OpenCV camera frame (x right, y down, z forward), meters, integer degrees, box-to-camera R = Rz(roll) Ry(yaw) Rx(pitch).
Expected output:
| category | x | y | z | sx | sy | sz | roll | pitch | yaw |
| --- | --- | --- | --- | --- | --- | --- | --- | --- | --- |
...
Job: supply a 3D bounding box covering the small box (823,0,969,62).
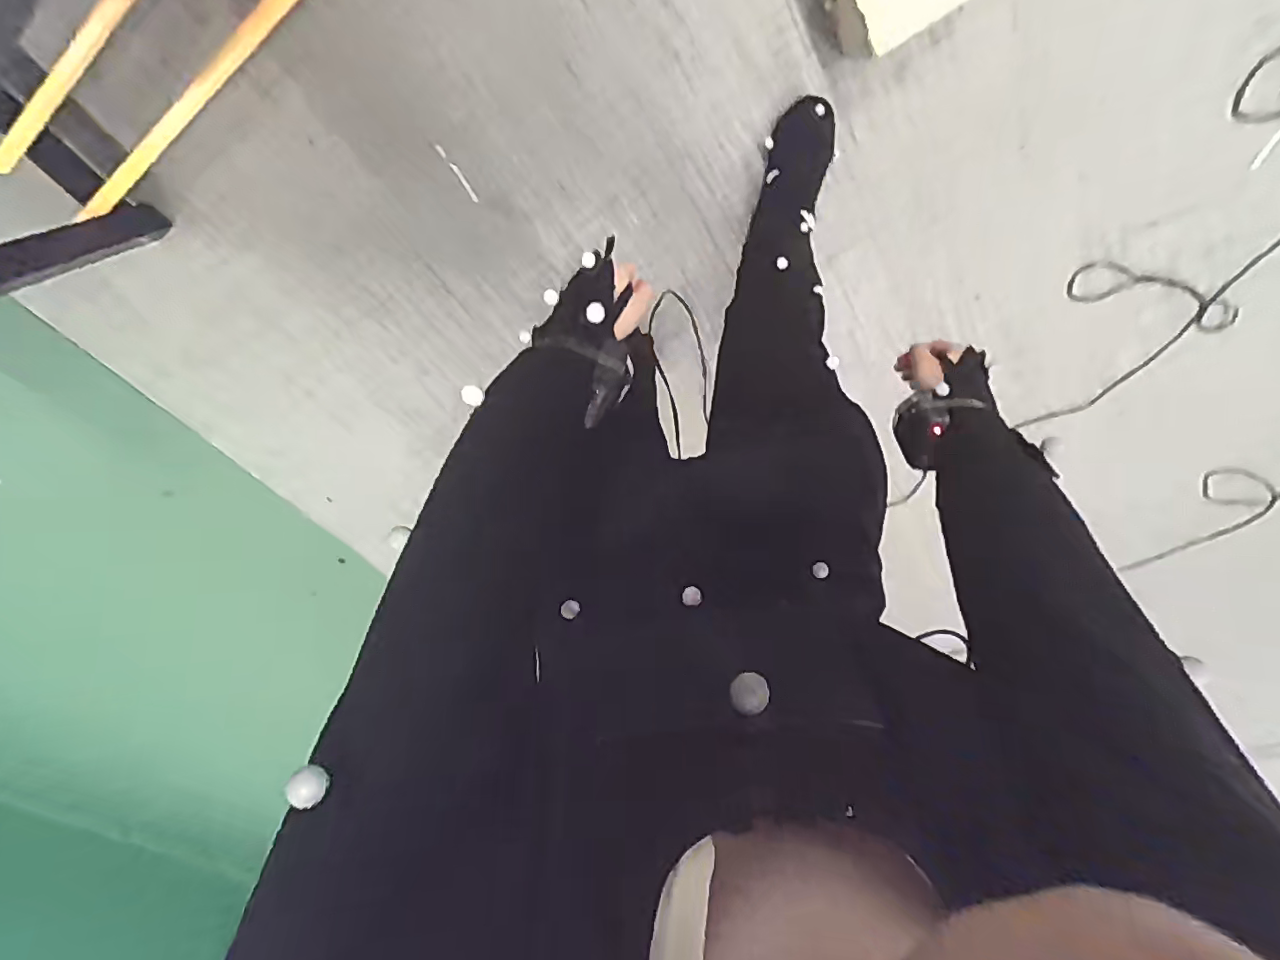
| category | x | y | z | sx | sy | sz | roll | pitch | yaw |
| --- | --- | --- | --- | --- | --- | --- | --- | --- | --- |
| small box | 0.353 | -0.708 | 0.732 | 0.179 | 0.176 | 0.168 | -25 | 121 | 20 |
